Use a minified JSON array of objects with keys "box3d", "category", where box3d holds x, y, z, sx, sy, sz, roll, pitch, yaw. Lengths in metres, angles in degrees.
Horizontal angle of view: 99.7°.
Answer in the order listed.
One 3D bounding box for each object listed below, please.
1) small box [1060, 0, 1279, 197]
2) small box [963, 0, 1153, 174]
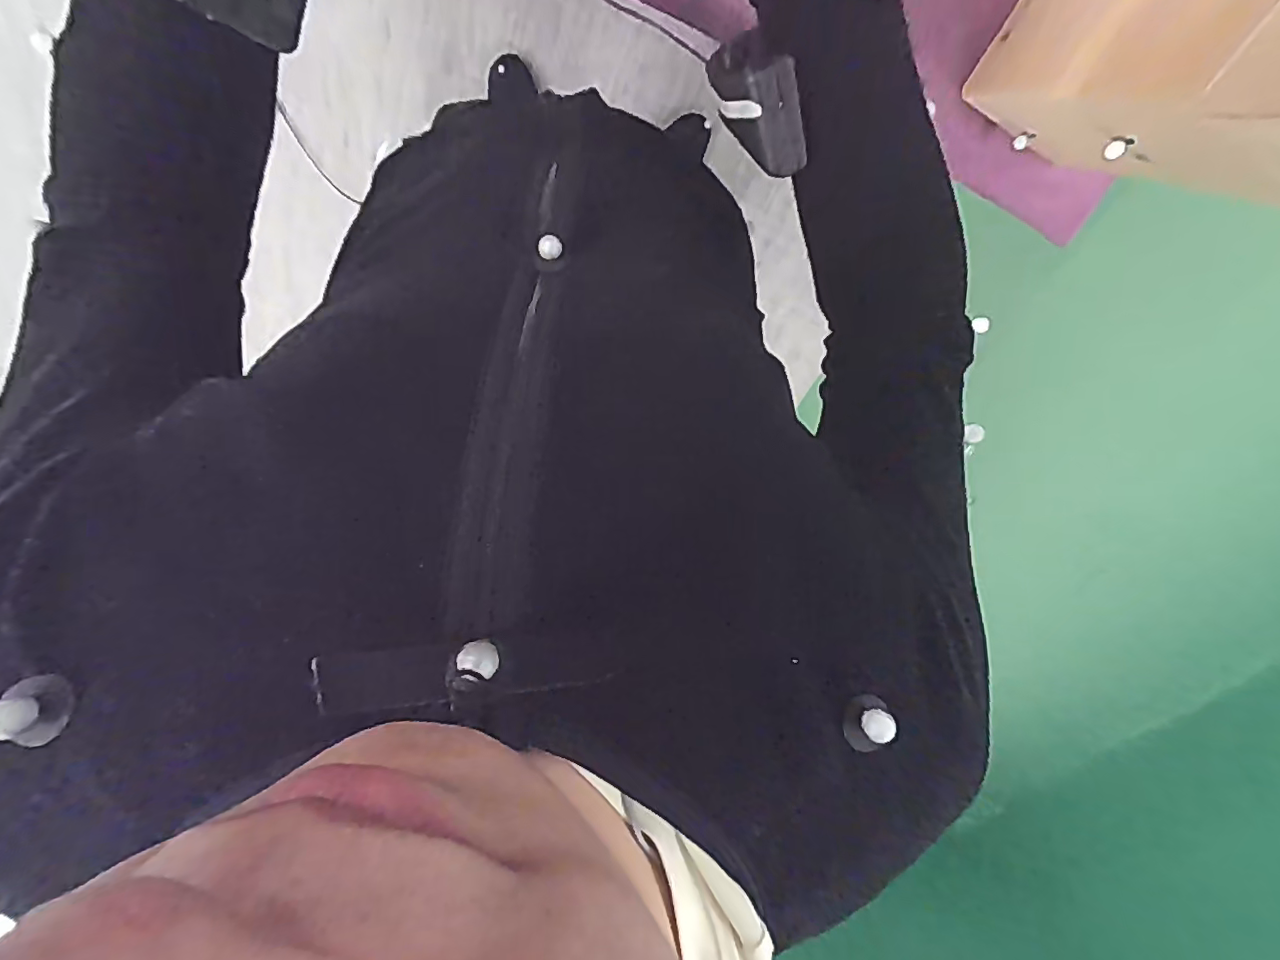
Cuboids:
[{"box3d":[0.511,-0.364,0.439,0.168,0.176,0.179,21,123,-16],"category":"small box"},{"box3d":[0.499,-0.459,0.572,0.179,0.176,0.168,19,122,-17],"category":"small box"}]
